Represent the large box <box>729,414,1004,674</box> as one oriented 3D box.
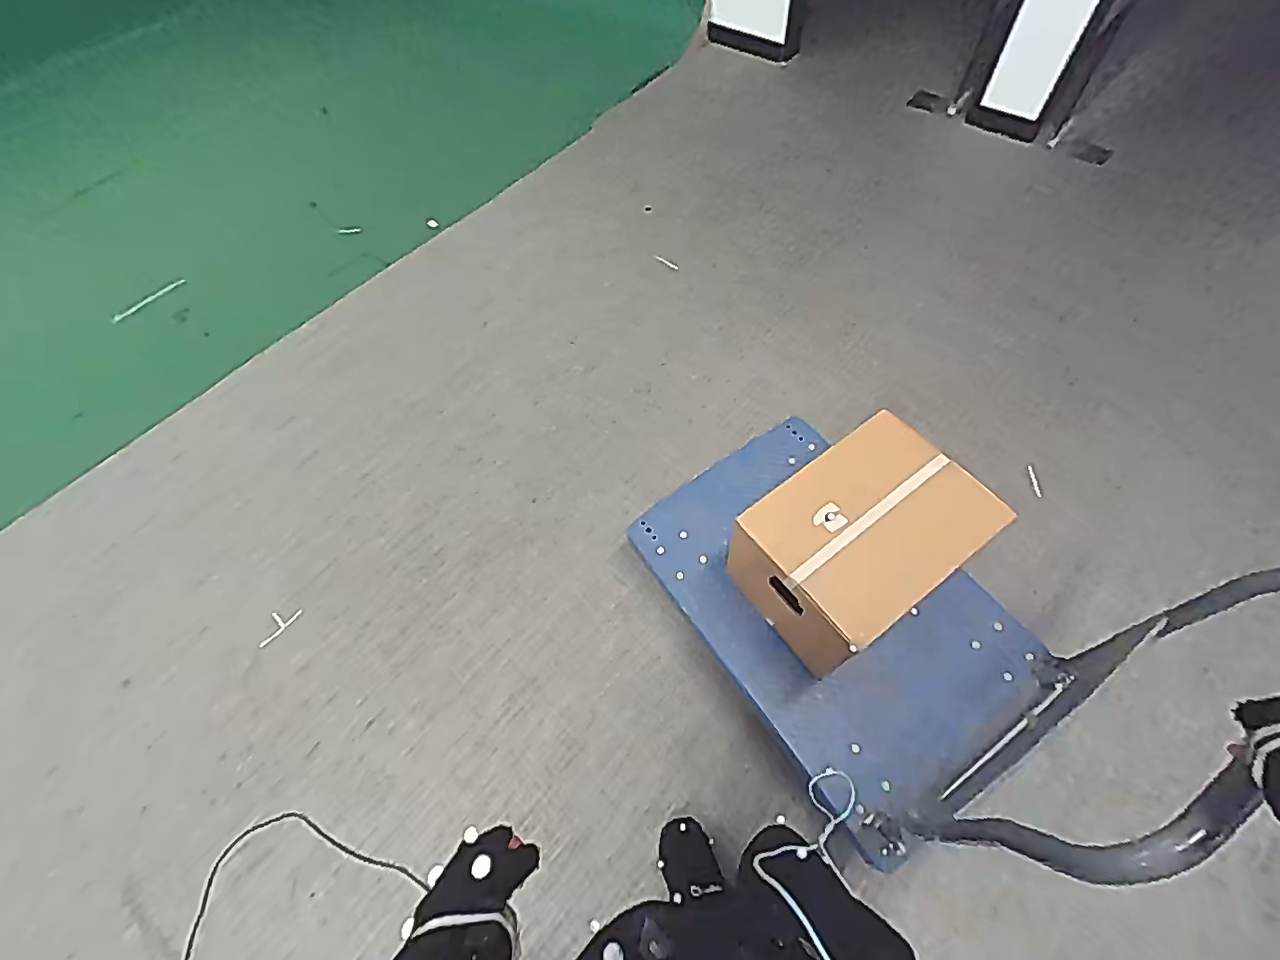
[{"bbox_3d":[0.441,0.143,1.144,0.408,0.320,0.320,-35,63,-12],"label":"large box"}]
